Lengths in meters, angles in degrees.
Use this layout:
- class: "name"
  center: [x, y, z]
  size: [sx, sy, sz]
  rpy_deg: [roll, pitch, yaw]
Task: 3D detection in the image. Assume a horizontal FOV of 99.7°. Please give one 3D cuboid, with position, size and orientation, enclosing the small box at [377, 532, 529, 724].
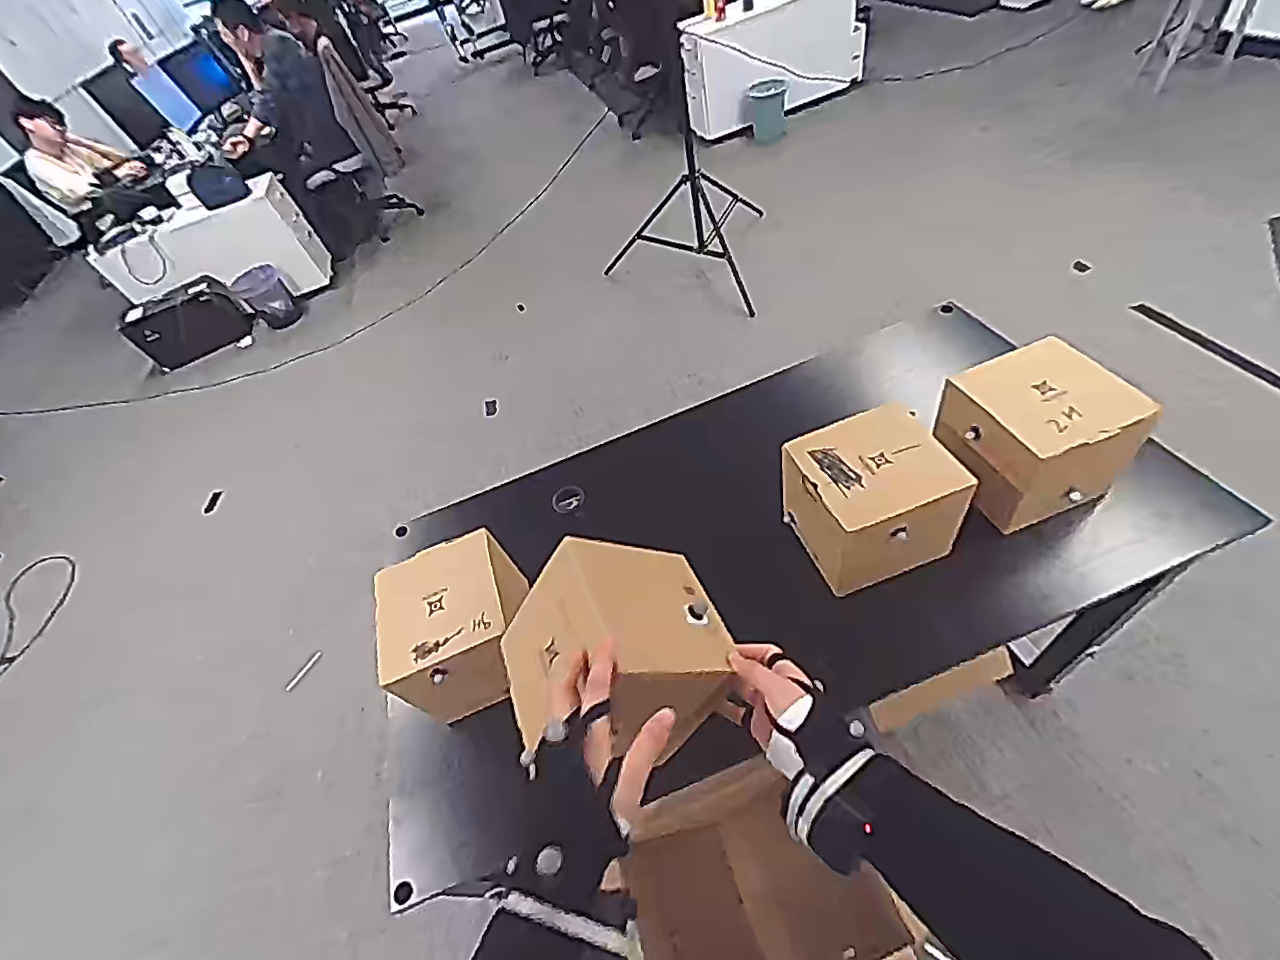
- class: "small box"
  center: [-0.248, 0.211, 0.765]
  size: [0.168, 0.176, 0.179]
  rpy_deg: [-23, 49, -4]

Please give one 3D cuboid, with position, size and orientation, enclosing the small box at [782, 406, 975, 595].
- class: "small box"
  center: [0.315, 0.033, 0.751]
  size: [0.179, 0.176, 0.168]
  rpy_deg: [-20, 49, -2]

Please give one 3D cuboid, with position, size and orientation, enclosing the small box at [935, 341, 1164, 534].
- class: "small box"
  center: [0.543, -0.057, 0.757]
  size: [0.168, 0.176, 0.179]
  rpy_deg: [-21, 49, -1]

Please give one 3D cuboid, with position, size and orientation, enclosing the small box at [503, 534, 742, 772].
- class: "small box"
  center: [-0.024, 0.187, 0.589]
  size: [0.179, 0.176, 0.168]
  rpy_deg: [-55, 41, 23]
